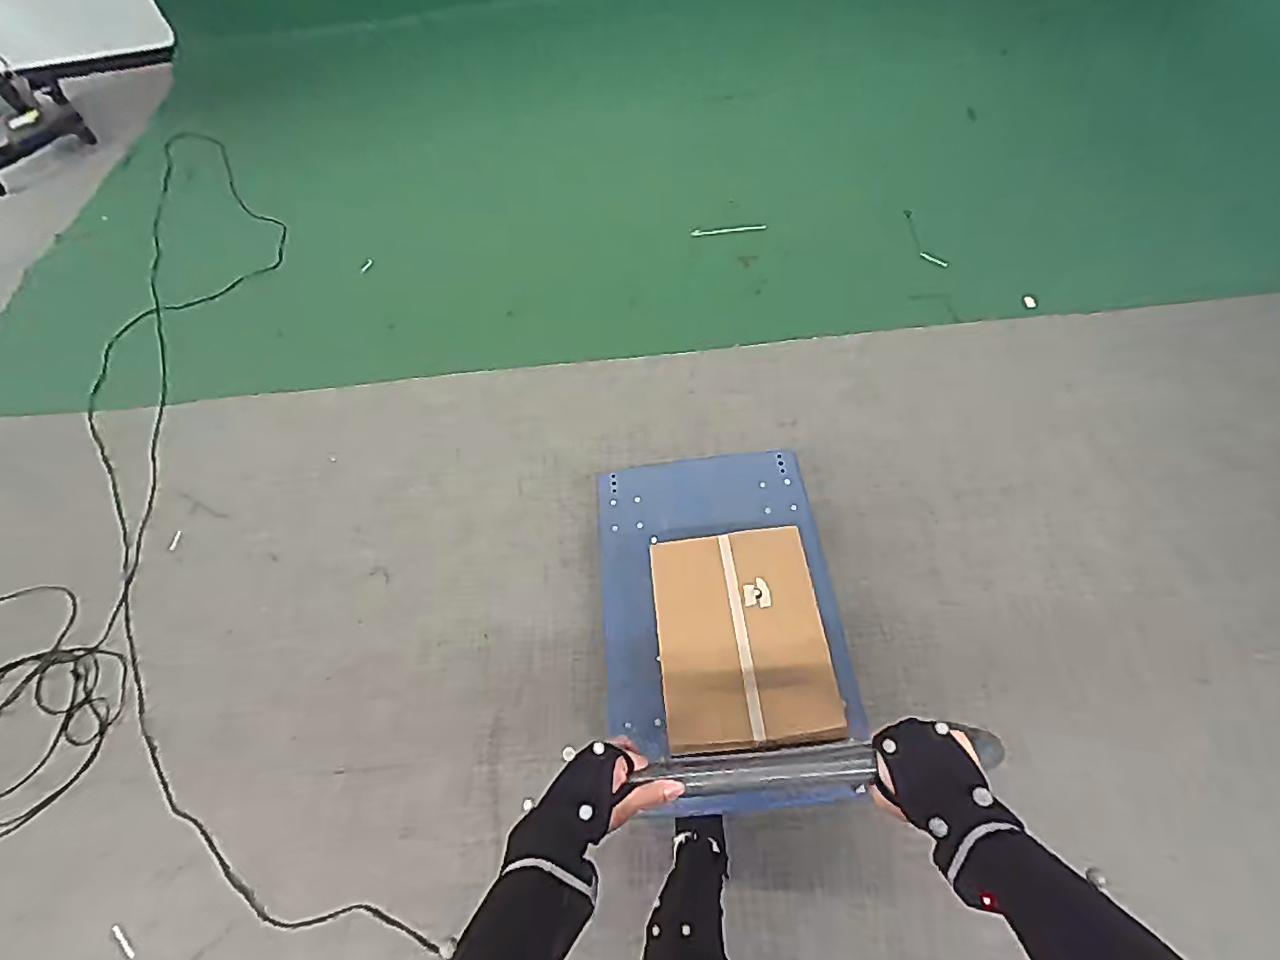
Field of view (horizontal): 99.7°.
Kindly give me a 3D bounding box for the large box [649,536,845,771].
[{"bbox_3d":[0.208,0.383,1.172,0.320,0.320,0.408,-7,59,3],"label":"large box"}]
